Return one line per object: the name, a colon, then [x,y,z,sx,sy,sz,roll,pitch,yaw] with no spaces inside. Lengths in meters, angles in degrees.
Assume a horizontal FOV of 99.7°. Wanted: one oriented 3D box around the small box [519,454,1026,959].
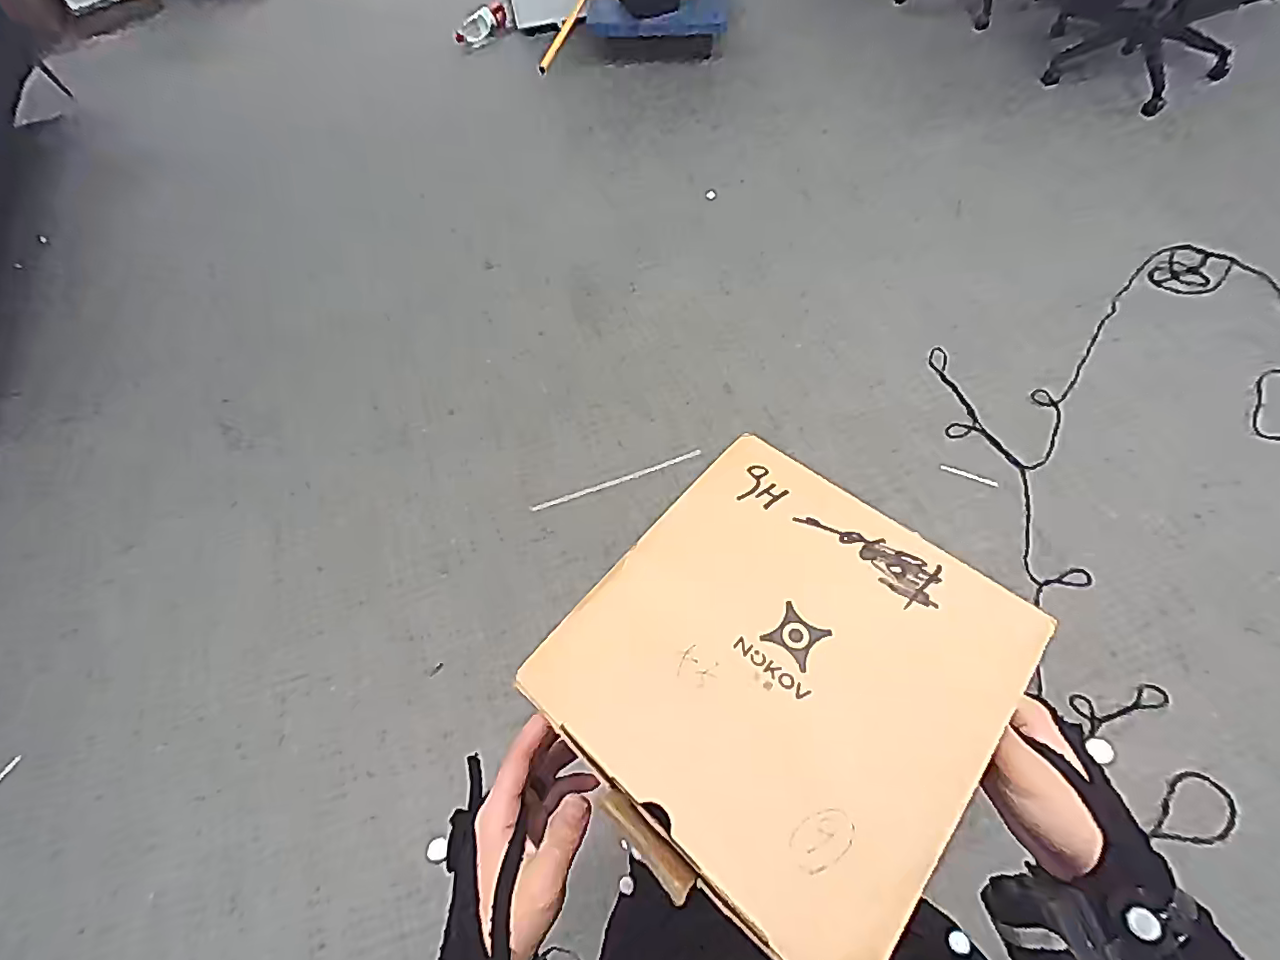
small box: [0.065,0.126,0.312,0.168,0.176,0.179,36,66,24]
